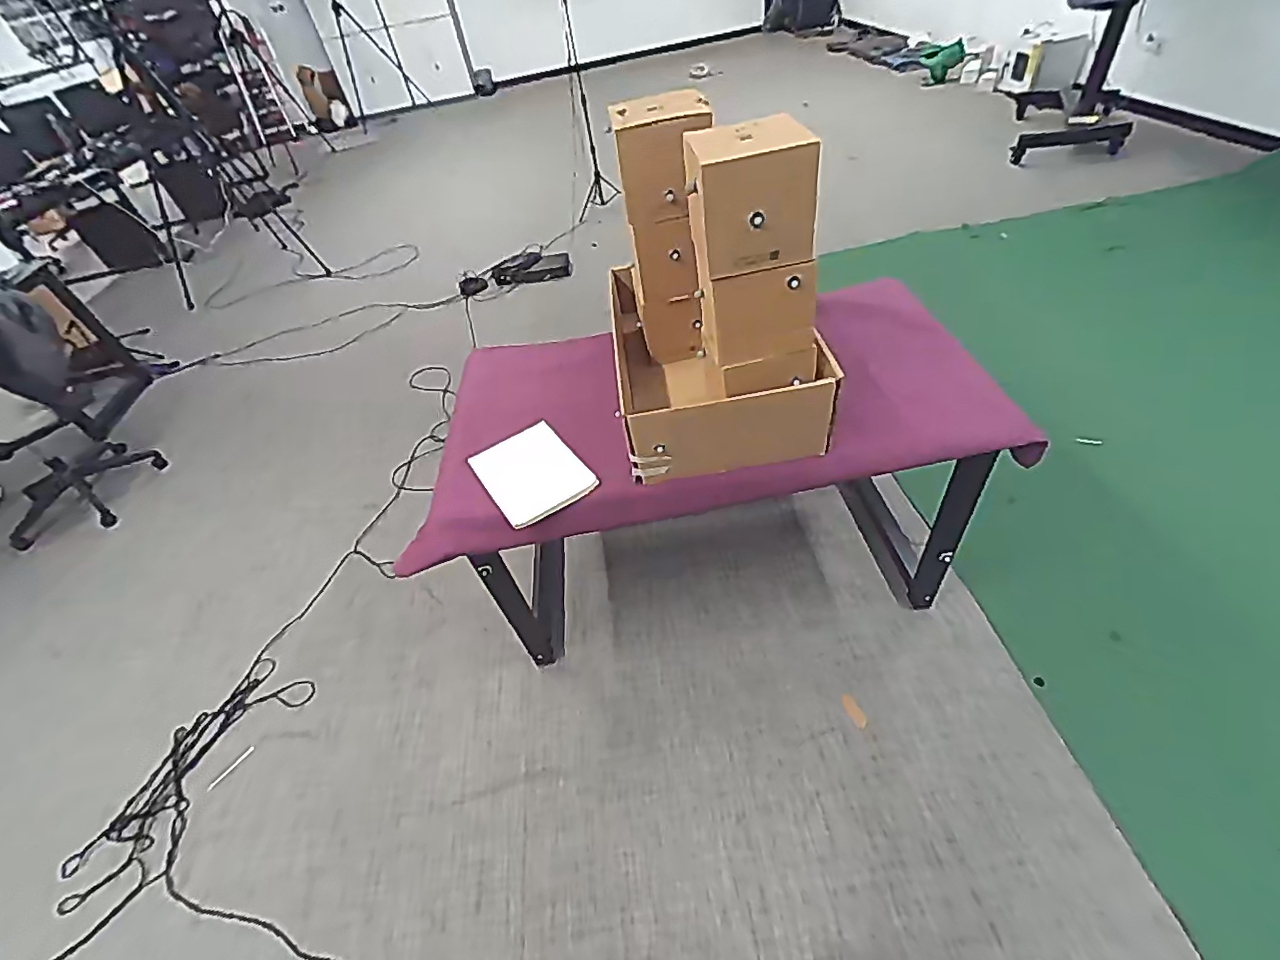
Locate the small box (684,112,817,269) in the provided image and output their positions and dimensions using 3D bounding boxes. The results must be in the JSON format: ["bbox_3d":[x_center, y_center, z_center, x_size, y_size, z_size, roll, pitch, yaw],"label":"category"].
[{"bbox_3d":[0.168,-0.446,0.847,0.168,0.176,0.179,-10,44,3],"label":"small box"}]

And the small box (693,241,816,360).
[{"bbox_3d":[0.200,-0.332,0.962,0.179,0.176,0.168,-10,44,3],"label":"small box"}]

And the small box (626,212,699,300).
[{"bbox_3d":[0.068,-0.515,1.169,0.179,0.176,0.168,-12,47,0],"label":"small box"}]

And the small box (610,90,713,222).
[{"bbox_3d":[0.042,-0.628,1.052,0.179,0.176,0.168,-9,47,1],"label":"small box"}]
